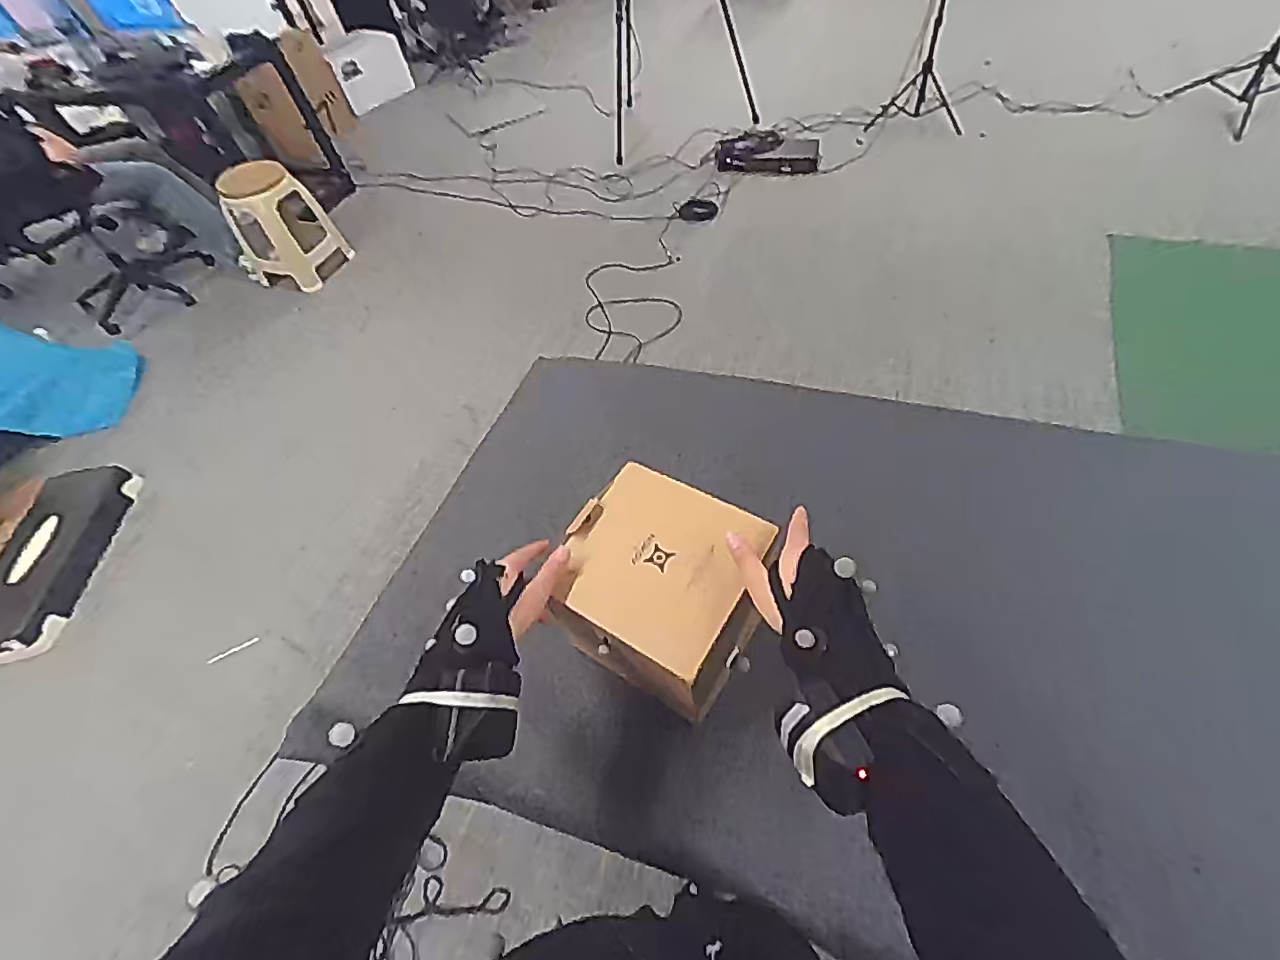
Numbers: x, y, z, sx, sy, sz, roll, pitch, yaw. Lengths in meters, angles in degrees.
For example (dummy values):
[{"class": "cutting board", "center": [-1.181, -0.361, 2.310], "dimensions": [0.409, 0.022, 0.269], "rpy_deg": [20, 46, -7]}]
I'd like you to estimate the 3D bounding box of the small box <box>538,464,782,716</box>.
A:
[{"class": "small box", "center": [0.028, 0.119, 0.566], "dimensions": [0.179, 0.176, 0.168], "rpy_deg": [25, 62, 24]}]
